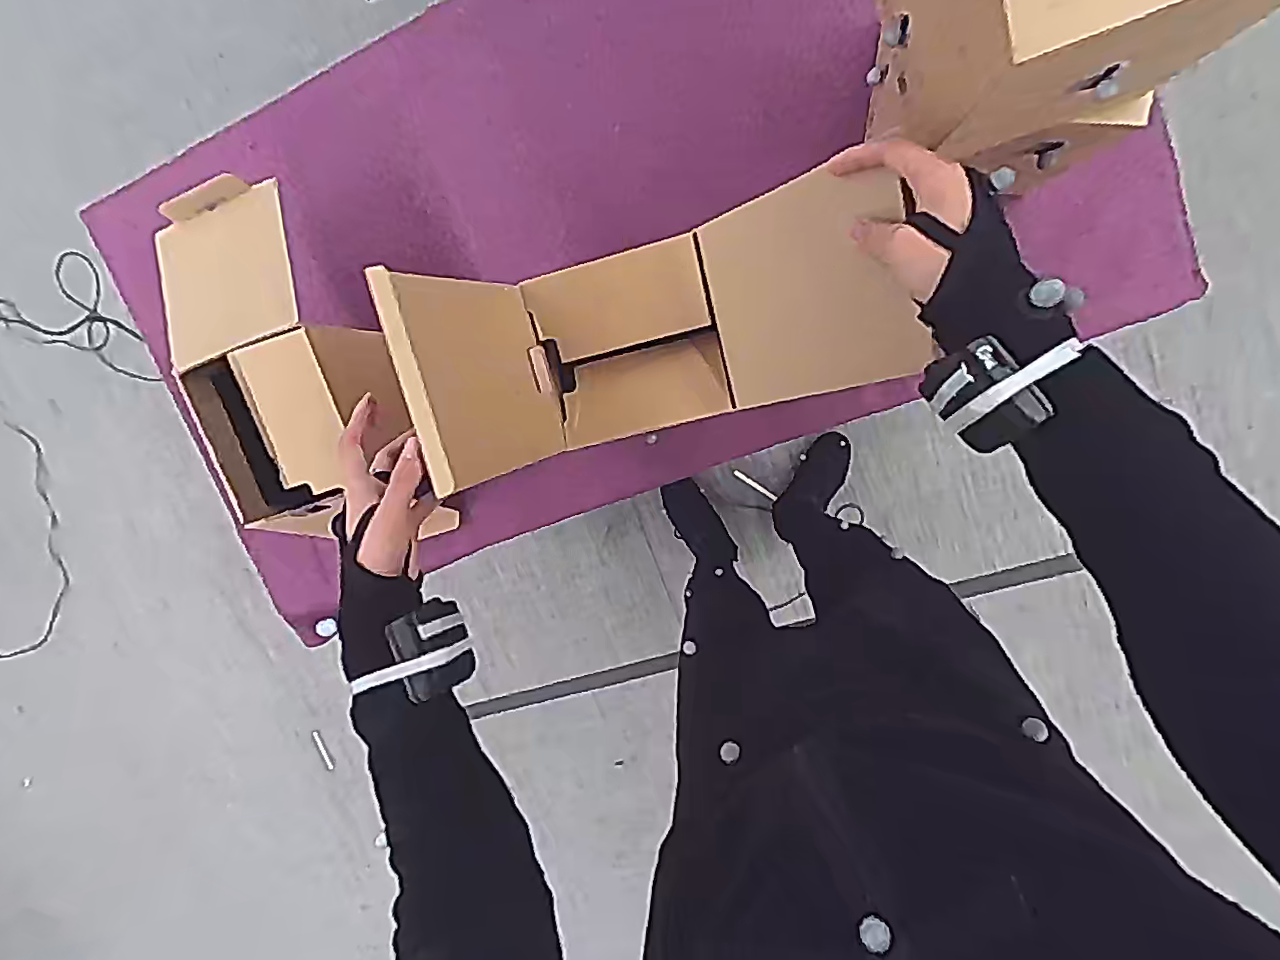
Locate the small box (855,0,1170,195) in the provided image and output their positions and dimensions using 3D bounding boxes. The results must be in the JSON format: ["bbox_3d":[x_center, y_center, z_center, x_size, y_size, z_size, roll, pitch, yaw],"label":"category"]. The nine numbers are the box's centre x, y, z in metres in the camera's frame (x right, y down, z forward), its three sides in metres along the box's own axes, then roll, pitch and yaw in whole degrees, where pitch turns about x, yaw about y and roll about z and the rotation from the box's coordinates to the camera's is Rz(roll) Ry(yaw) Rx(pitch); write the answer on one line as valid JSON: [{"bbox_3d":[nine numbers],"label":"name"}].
[{"bbox_3d":[0.314,-0.370,0.484,0.179,0.176,0.168,7,102,7],"label":"small box"}]

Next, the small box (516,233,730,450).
[{"bbox_3d":[-0.004,-0.138,0.580,0.179,0.176,0.168,-12,100,10],"label":"small box"}]
